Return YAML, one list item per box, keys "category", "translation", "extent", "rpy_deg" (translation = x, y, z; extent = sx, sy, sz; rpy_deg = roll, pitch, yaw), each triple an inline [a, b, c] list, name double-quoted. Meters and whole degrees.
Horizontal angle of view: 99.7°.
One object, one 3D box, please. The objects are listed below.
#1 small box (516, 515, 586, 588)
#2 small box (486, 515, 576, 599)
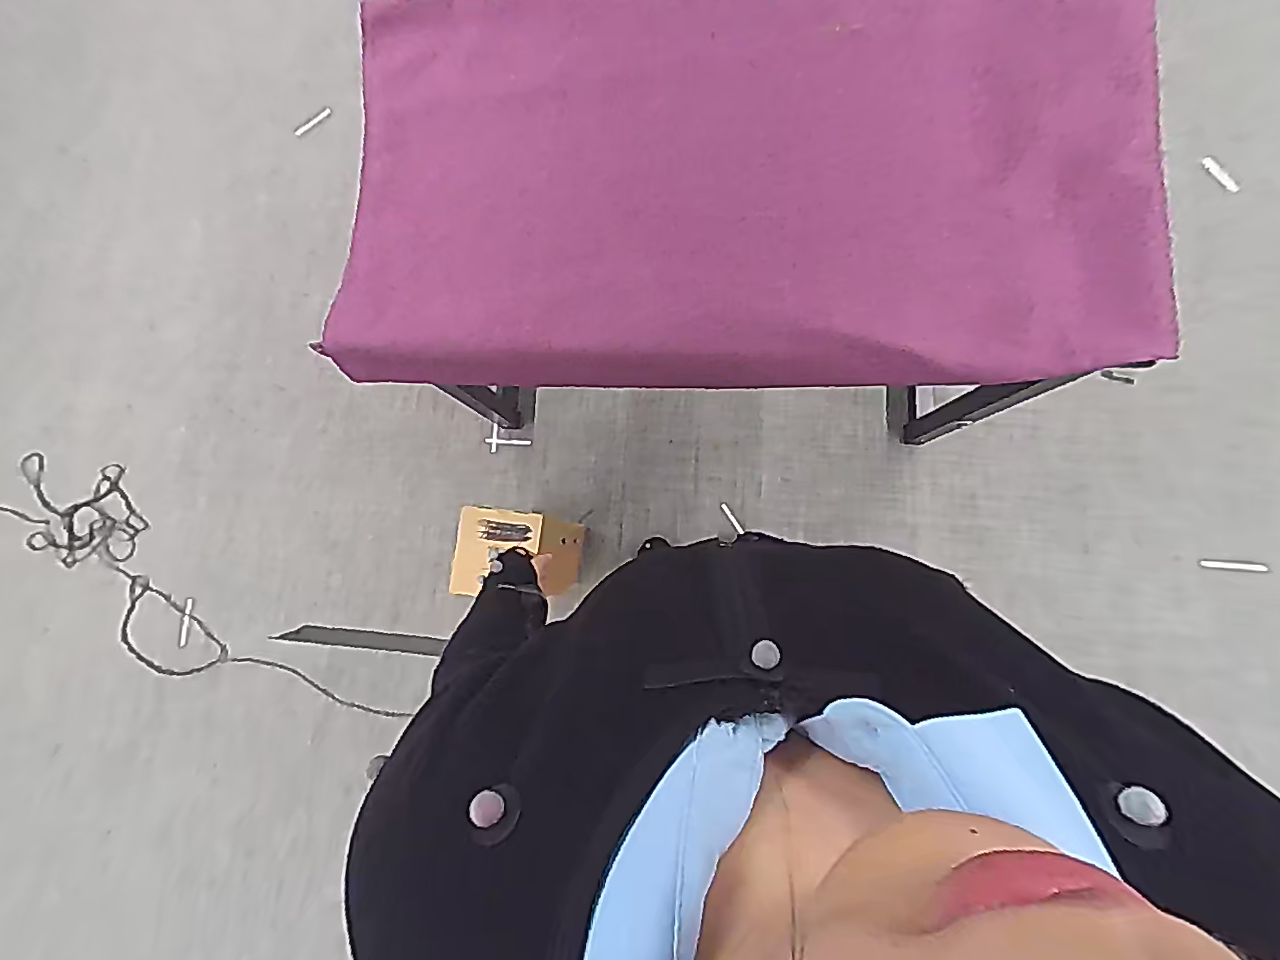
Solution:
- category: "small box"
  translation: [-0.248, 0.197, 1.454]
  extent: [0.168, 0.176, 0.179]
  rpy_deg: [9, 84, 5]
- category: "small box"
  translation: [-0.252, 0.182, 1.290]
  extent: [0.168, 0.176, 0.179]
  rpy_deg: [4, 84, 5]
